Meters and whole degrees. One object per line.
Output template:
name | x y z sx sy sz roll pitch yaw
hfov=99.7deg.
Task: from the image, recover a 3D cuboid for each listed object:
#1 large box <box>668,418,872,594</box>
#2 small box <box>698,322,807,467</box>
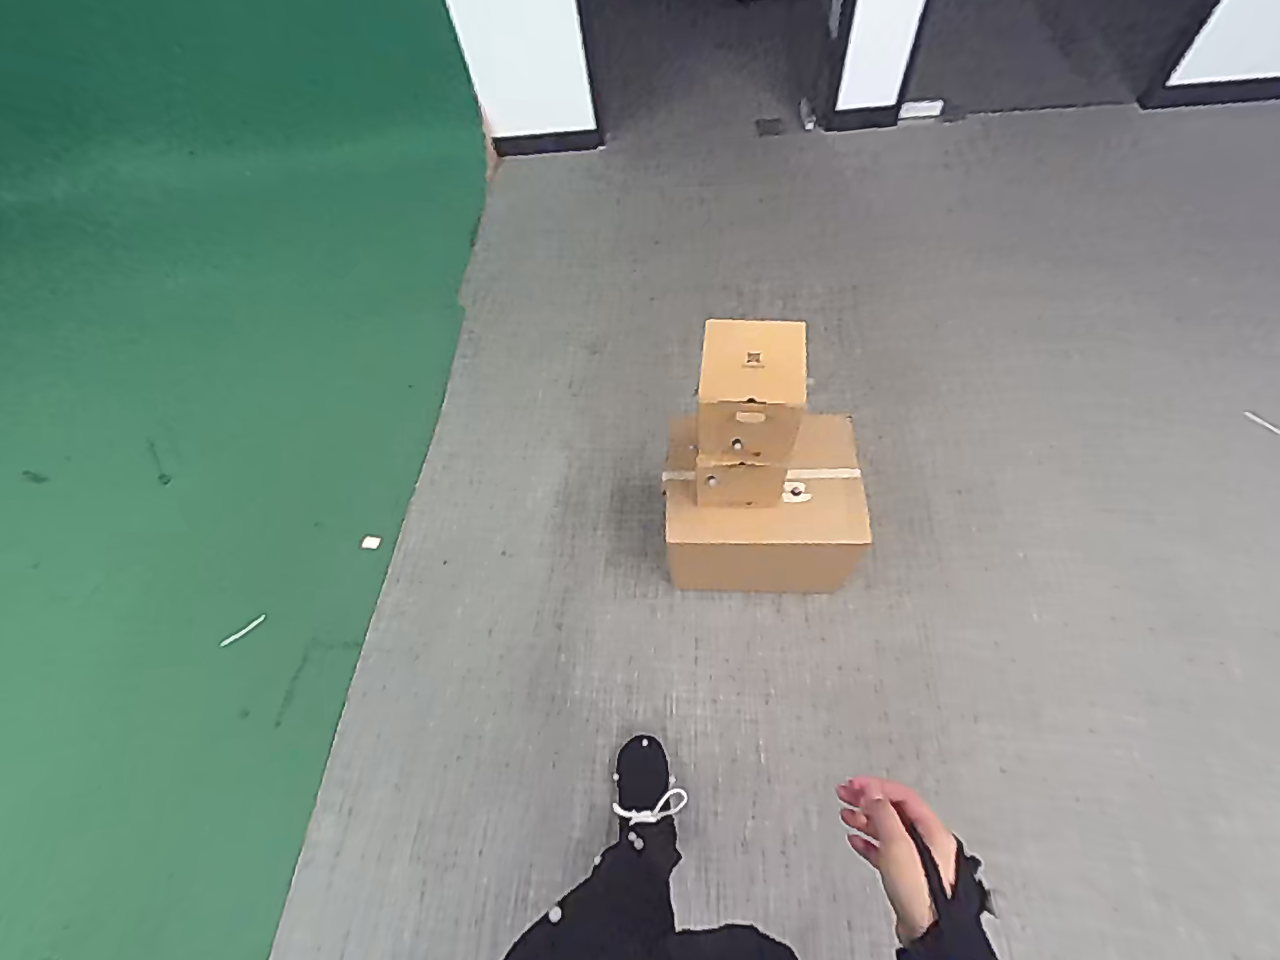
large box | 0.270 0.072 1.266 0.408 0.320 0.320 0 61 5
small box | 0.188 -0.145 0.928 0.168 0.176 0.179 4 61 8
